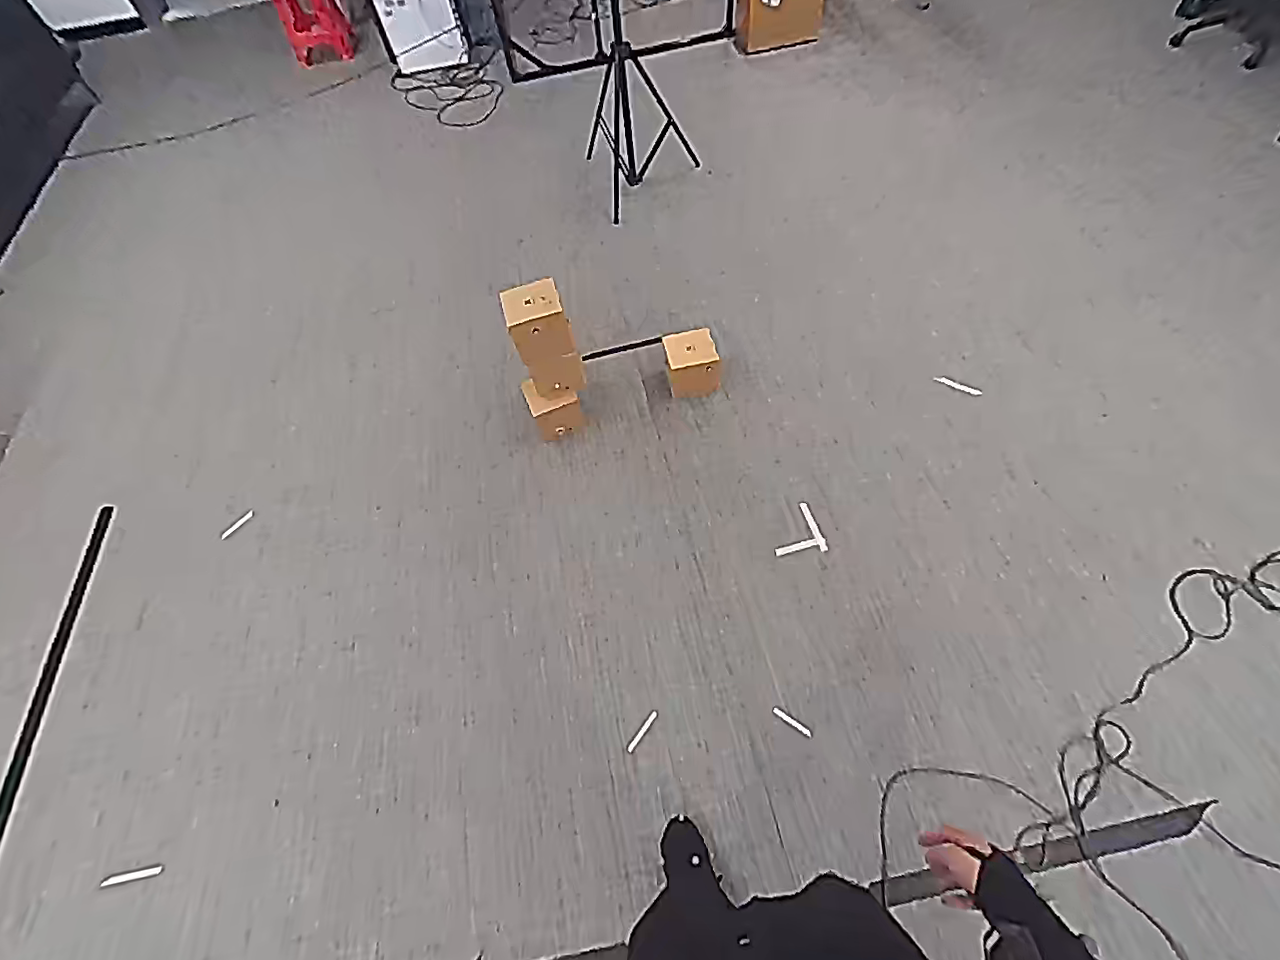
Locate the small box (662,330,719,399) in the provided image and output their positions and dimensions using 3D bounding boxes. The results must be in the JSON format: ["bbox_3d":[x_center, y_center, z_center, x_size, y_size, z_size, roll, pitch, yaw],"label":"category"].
[{"bbox_3d":[0.185,-0.419,1.982,0.179,0.176,0.168,-12,59,-2],"label":"small box"}]

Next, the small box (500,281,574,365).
[{"bbox_3d":[-0.321,-0.488,1.699,0.179,0.176,0.168,-17,58,-3],"label":"small box"}]

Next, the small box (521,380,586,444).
[{"bbox_3d":[-0.310,-0.262,1.946,0.168,0.176,0.179,-23,59,-7],"label":"small box"}]

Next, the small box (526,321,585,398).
[{"bbox_3d":[-0.288,-0.407,1.839,0.168,0.176,0.179,-11,58,2],"label":"small box"}]
